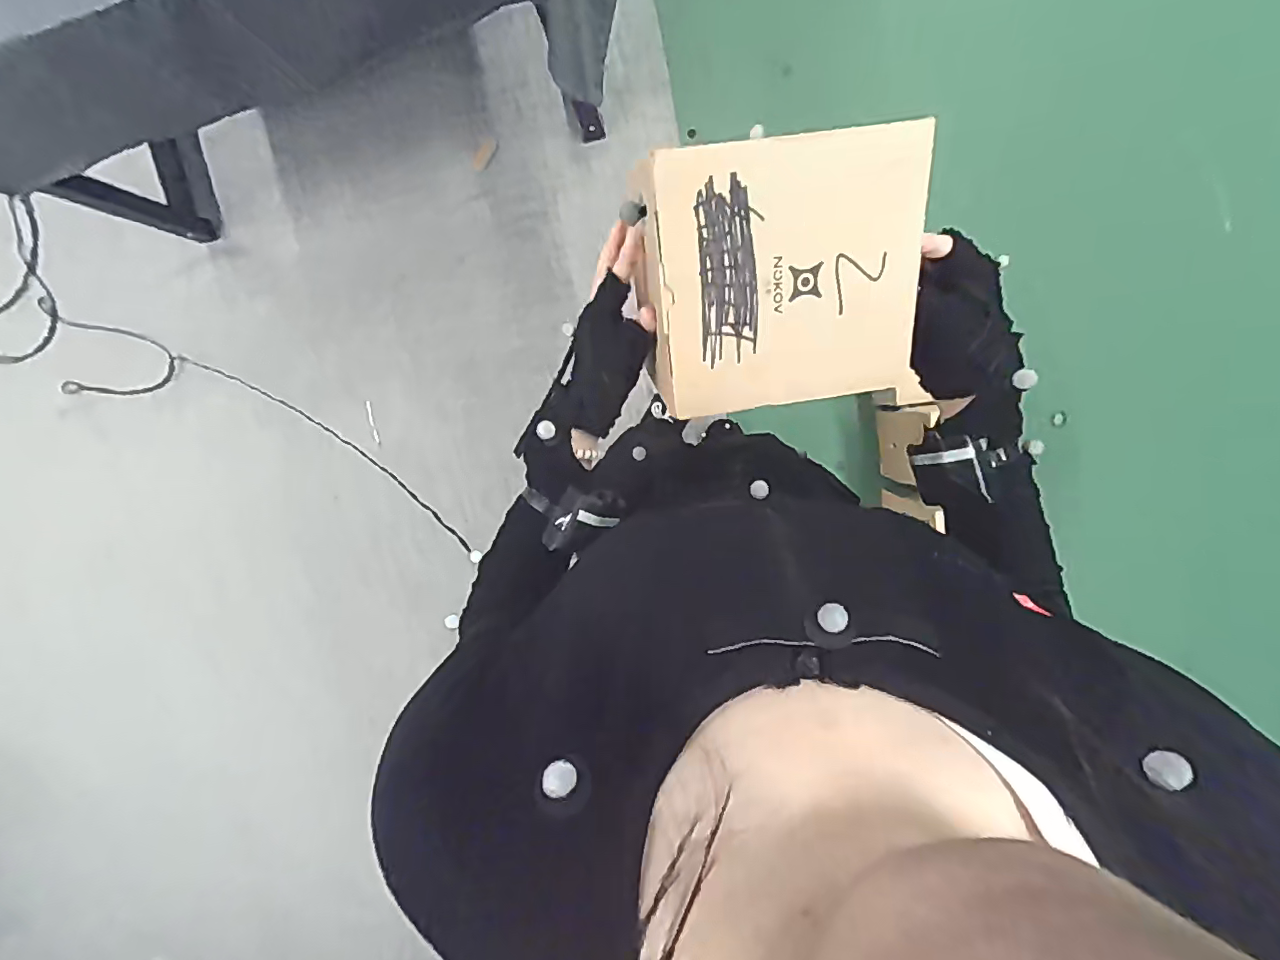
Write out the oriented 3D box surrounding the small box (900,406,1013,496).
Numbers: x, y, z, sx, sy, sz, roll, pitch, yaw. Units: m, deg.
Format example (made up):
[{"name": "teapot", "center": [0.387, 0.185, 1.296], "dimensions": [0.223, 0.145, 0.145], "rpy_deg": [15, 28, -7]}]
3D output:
[{"name": "small box", "center": [0.692, -0.069, 1.195], "dimensions": [0.168, 0.176, 0.179], "rpy_deg": [-5, 96, 6]}]
